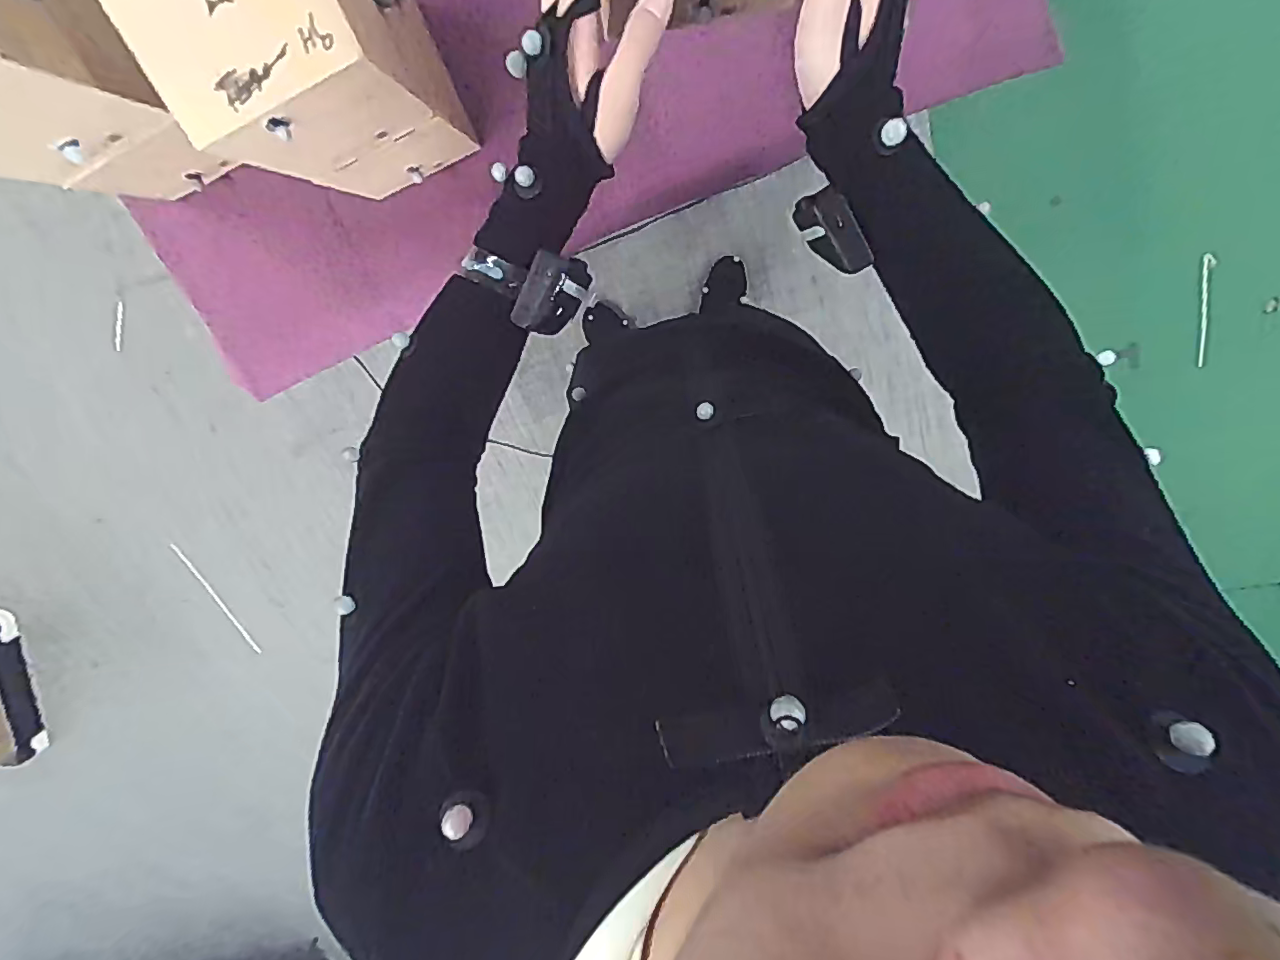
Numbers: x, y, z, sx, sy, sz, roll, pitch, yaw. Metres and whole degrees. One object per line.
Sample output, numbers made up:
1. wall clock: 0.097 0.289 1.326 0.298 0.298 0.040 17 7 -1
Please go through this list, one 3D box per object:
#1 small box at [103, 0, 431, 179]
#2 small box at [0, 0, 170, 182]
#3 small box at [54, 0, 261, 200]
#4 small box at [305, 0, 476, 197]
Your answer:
1. small box: -0.322 -0.400 0.480 0.168 0.176 0.179 -21 109 9
2. small box: -0.601 -0.398 0.483 0.168 0.176 0.179 -22 111 9
3. small box: -0.601 -0.457 0.635 0.168 0.176 0.179 -22 111 9
4. small box: -0.321 -0.460 0.634 0.168 0.176 0.179 -21 111 8
